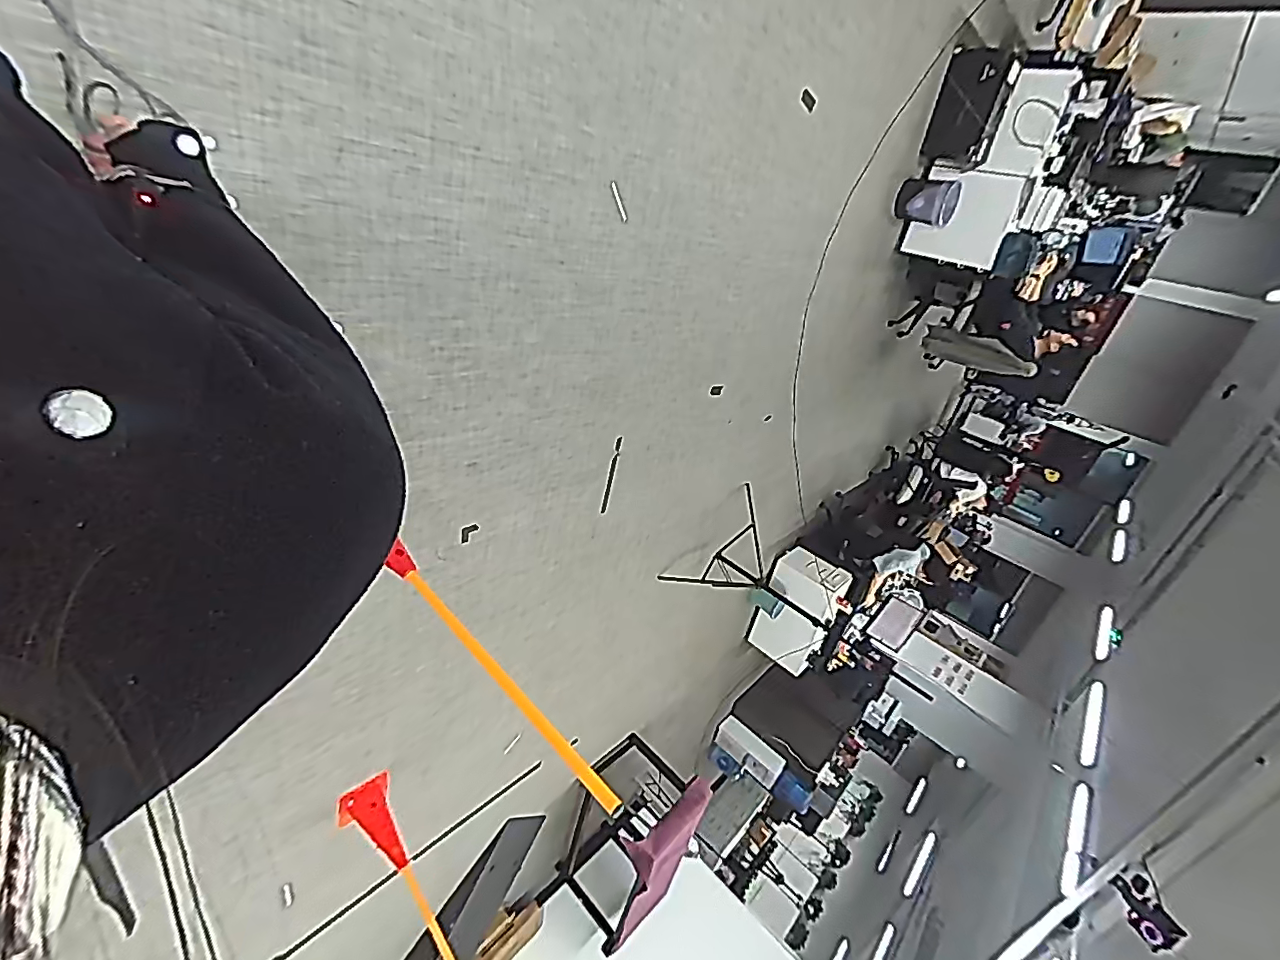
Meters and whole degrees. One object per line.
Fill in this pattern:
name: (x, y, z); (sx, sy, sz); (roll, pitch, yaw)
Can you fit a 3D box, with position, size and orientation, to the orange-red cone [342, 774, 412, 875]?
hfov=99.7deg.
orange-red cone: (-1.001, 1.398, 2.138); (0.198, 0.360, 0.199); (-14, 128, -47)
